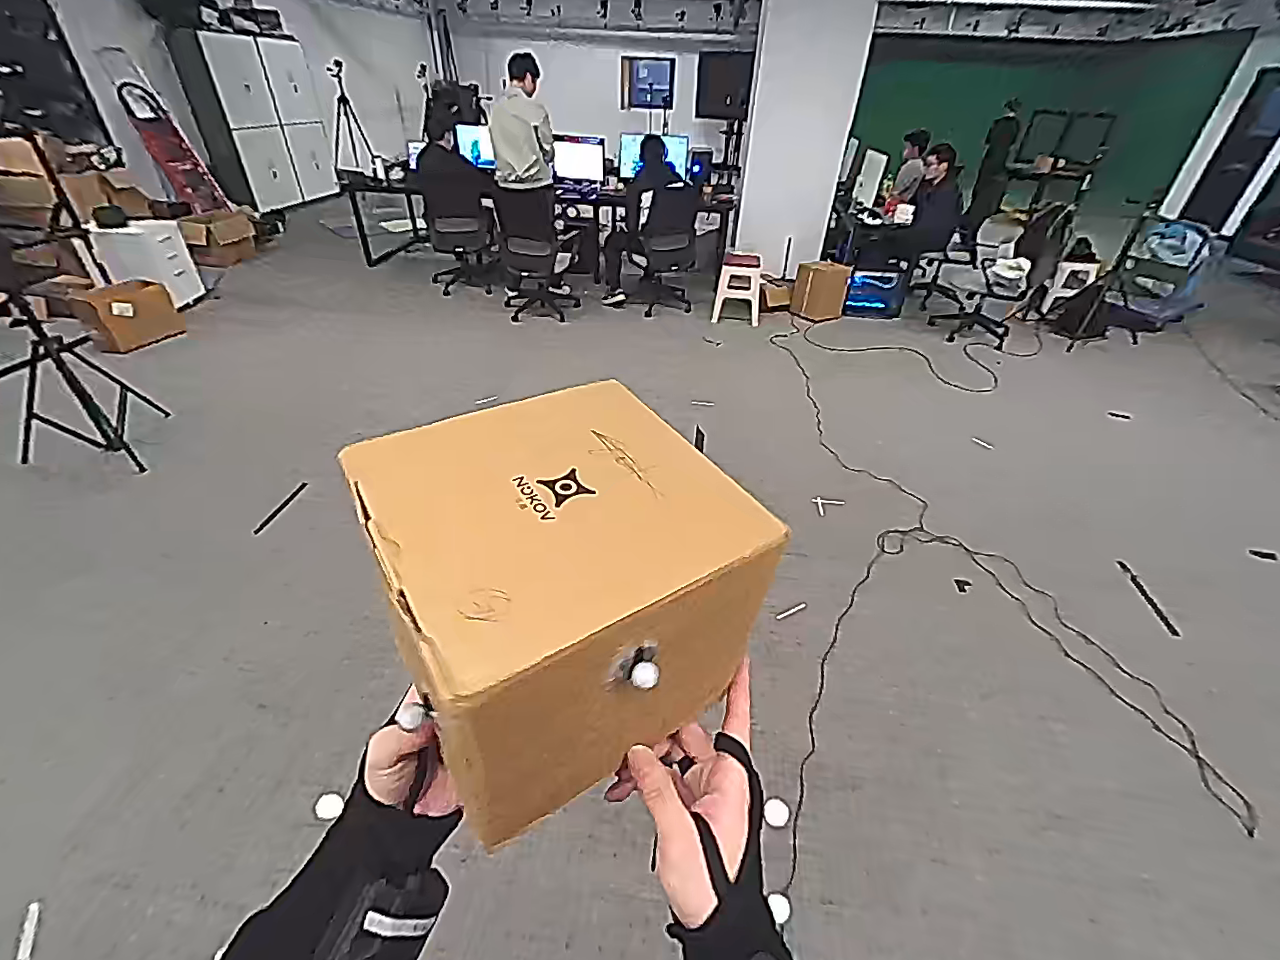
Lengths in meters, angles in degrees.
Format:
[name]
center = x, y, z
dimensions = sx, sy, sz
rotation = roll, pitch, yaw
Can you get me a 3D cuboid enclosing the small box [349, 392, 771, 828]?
[small box]
center = -0.050, 0.073, 0.342
dimensions = 0.179, 0.176, 0.168
rotation = -22, 49, -31
